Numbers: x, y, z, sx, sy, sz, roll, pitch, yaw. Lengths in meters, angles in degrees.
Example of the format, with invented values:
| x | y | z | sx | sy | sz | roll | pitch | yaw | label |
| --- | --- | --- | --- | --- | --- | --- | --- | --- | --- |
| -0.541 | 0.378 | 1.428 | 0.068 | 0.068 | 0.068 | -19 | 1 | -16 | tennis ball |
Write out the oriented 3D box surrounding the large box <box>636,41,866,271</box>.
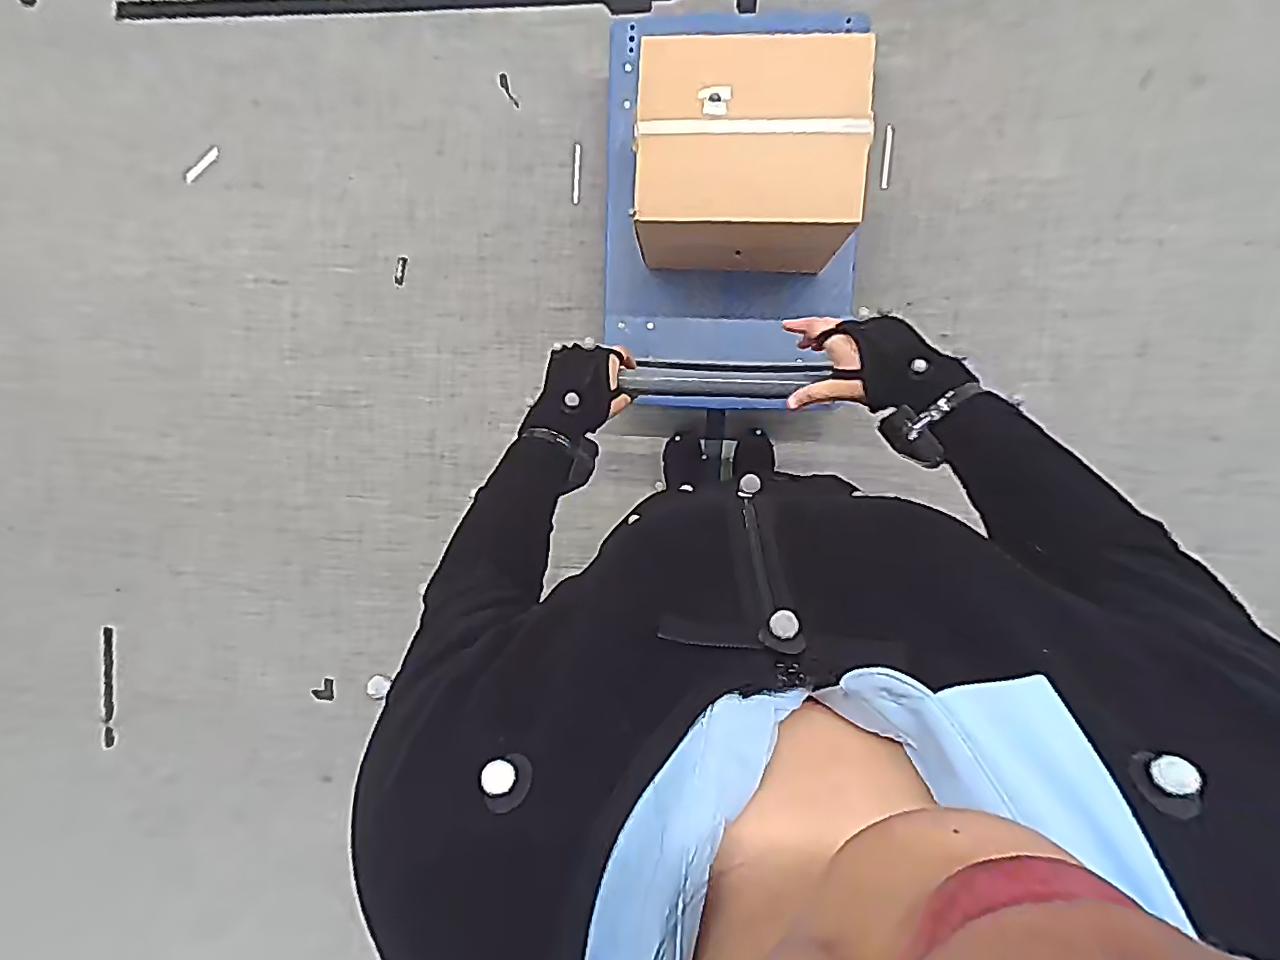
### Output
| x | y | z | sx | sy | sz | roll | pitch | yaw | label |
| --- | --- | --- | --- | --- | --- | --- | --- | --- | --- |
| 0.211 | -0.631 | 1.120 | 0.408 | 0.320 | 0.320 | 3 | 94 | 6 | large box |
